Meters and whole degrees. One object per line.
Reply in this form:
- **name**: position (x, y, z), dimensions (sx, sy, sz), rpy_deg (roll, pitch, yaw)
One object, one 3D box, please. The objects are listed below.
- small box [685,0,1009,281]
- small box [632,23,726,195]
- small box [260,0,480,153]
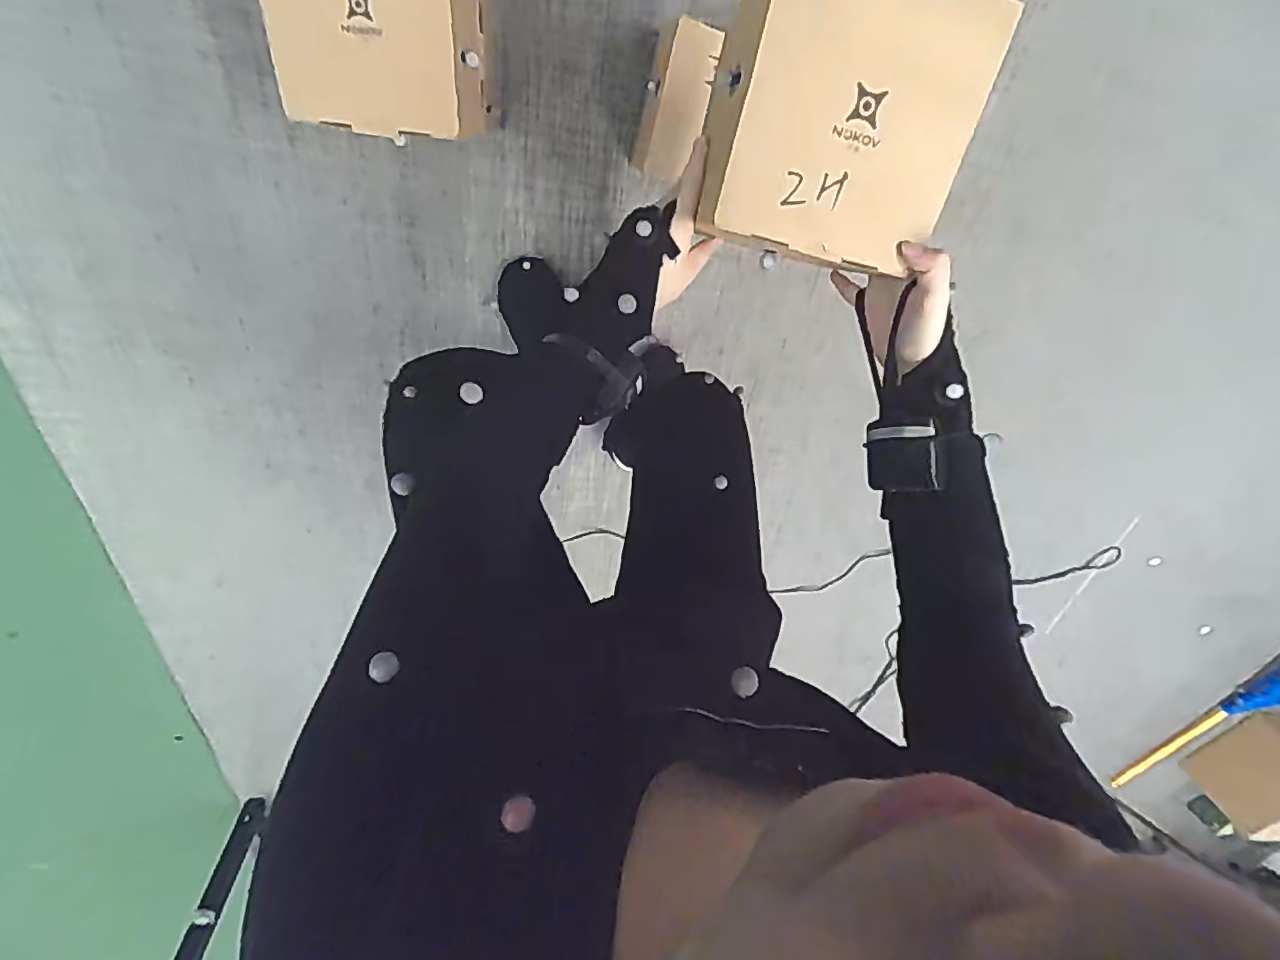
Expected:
- **small box**: position (0.143, -0.280, 0.451), dimensions (0.168, 0.176, 0.179), rpy_deg (10, 113, -9)
- **small box**: position (0.092, -0.508, 0.771), dimensions (0.168, 0.176, 0.179), rpy_deg (9, 123, -14)
- **small box**: position (-0.261, -0.453, 0.555), dimensions (0.168, 0.176, 0.179), rpy_deg (1, 124, -9)
